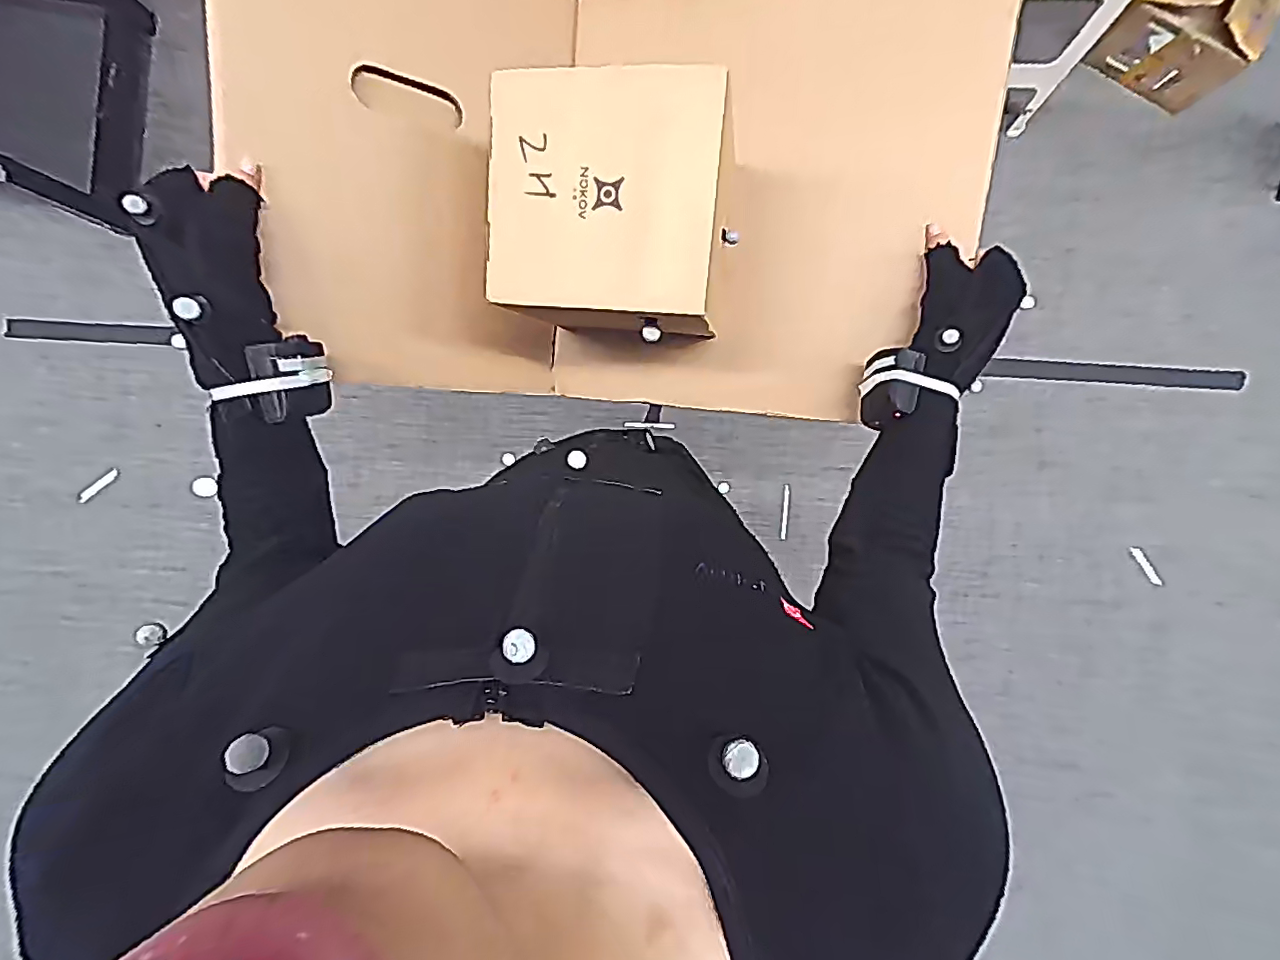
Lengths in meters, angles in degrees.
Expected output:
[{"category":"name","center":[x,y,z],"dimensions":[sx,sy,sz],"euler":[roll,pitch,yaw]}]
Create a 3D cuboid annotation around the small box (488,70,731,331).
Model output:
[{"category":"small box","center":[-0.016,-0.228,0.482],"dimensions":[0.179,0.176,0.168],"euler":[7,101,11]}]
